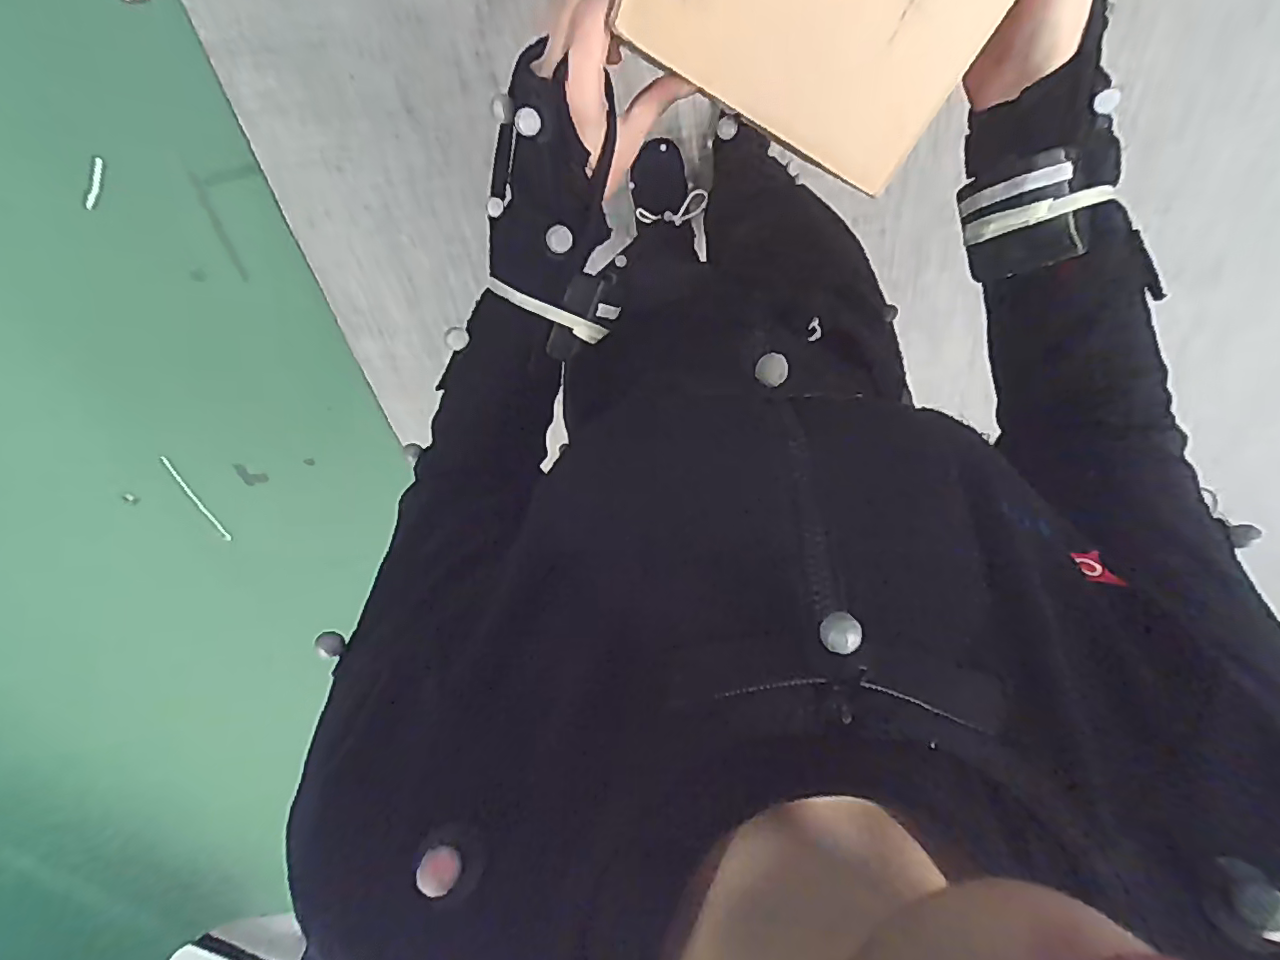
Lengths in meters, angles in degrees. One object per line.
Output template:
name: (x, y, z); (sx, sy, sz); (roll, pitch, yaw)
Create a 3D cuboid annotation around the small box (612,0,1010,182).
small box: (0.098, -0.304, 0.307); (0.179, 0.176, 0.168); (21, 126, -15)
